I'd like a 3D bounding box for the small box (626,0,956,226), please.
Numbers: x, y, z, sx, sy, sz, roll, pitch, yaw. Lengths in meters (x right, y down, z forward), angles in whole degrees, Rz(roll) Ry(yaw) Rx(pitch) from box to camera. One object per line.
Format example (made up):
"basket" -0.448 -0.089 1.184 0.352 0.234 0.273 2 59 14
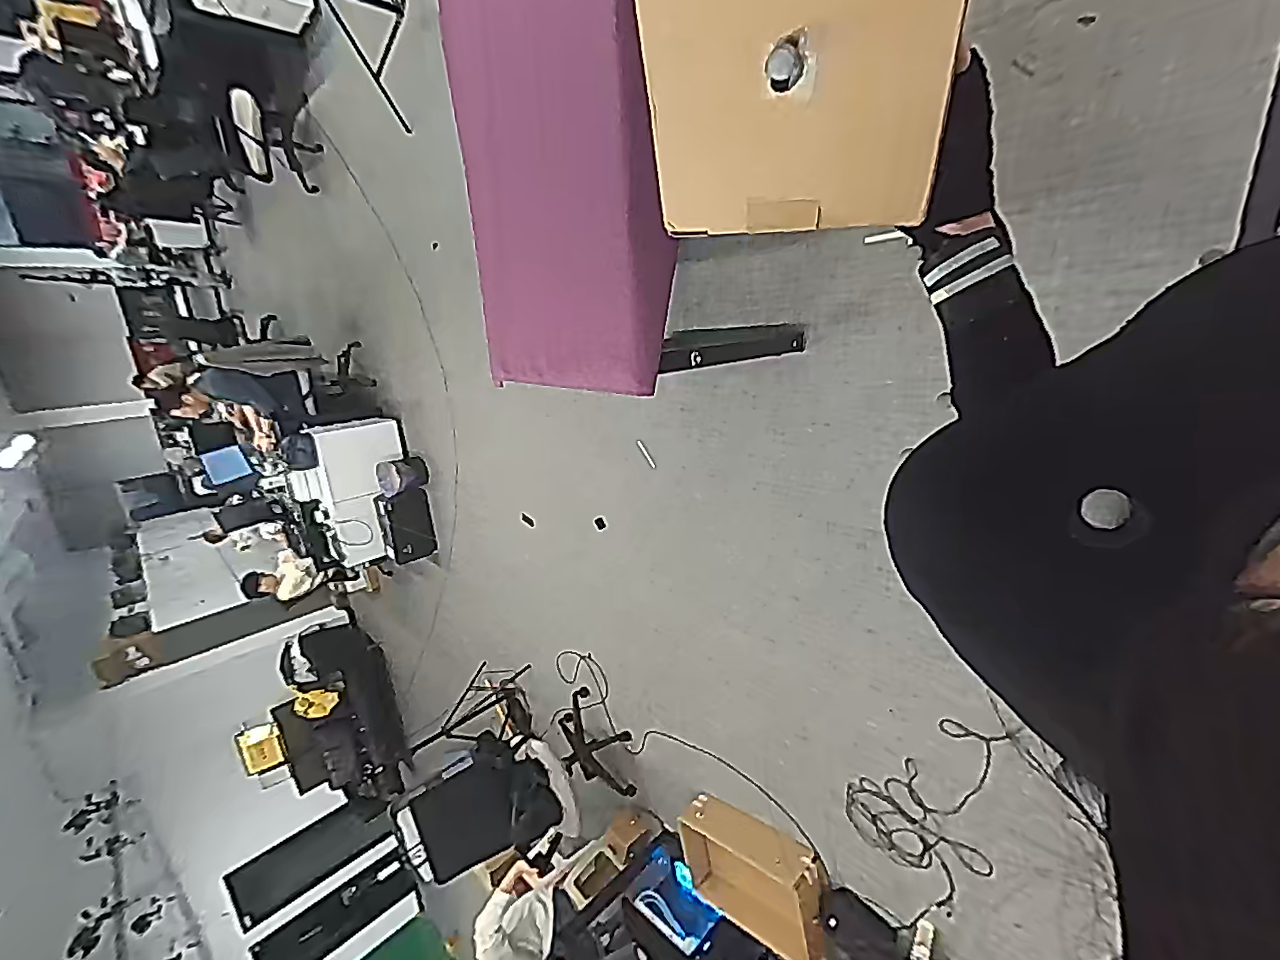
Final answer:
"small box" 0.099 -0.278 0.330 0.168 0.179 0.176 9 138 23
